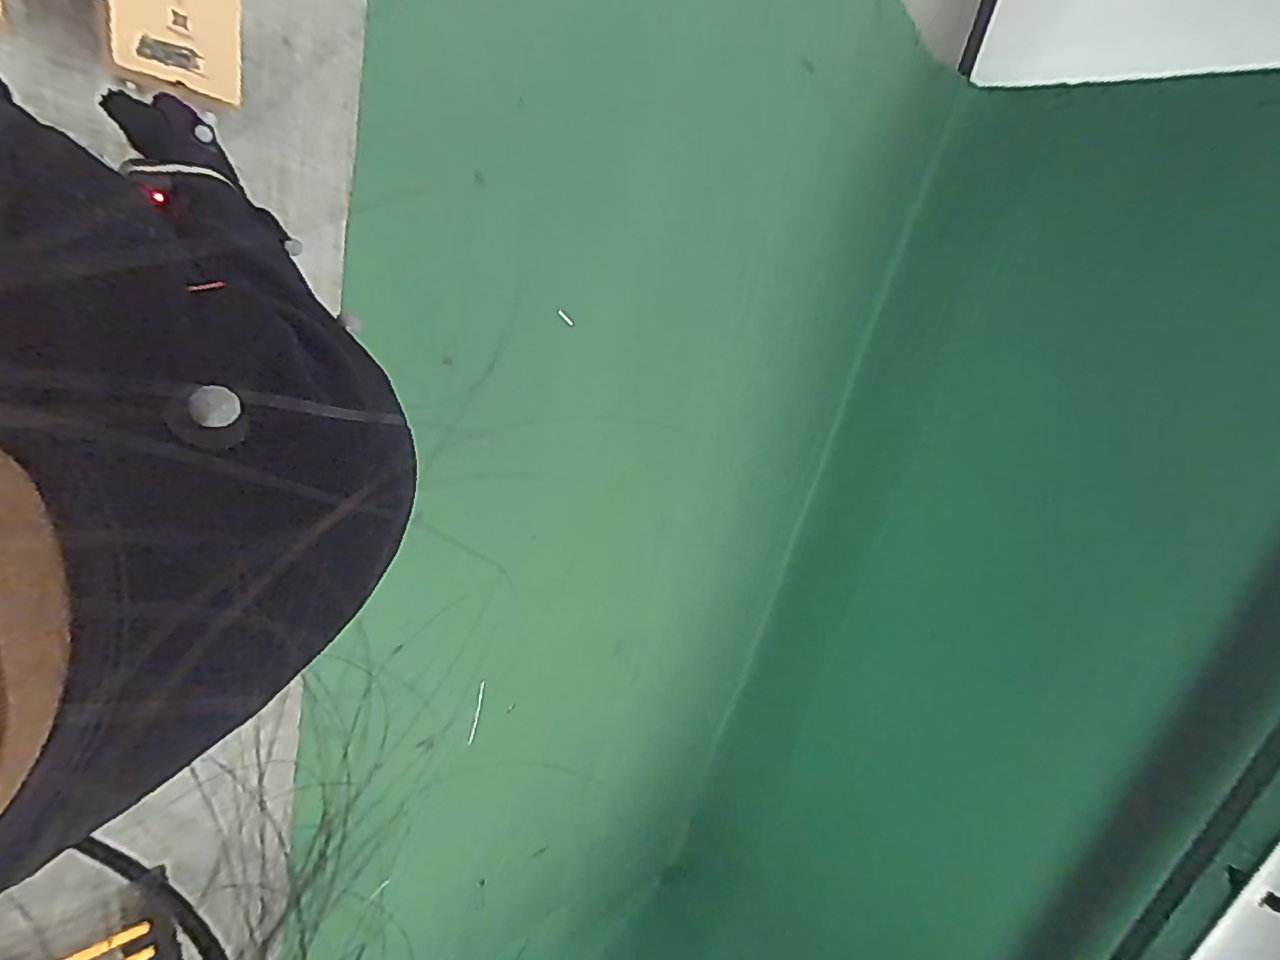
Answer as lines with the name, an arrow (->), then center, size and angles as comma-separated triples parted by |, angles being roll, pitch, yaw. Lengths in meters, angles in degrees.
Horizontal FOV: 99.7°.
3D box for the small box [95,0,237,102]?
small box -> -0.802, -0.772, 0.917 | 0.168, 0.176, 0.179 | -5, 115, -47
